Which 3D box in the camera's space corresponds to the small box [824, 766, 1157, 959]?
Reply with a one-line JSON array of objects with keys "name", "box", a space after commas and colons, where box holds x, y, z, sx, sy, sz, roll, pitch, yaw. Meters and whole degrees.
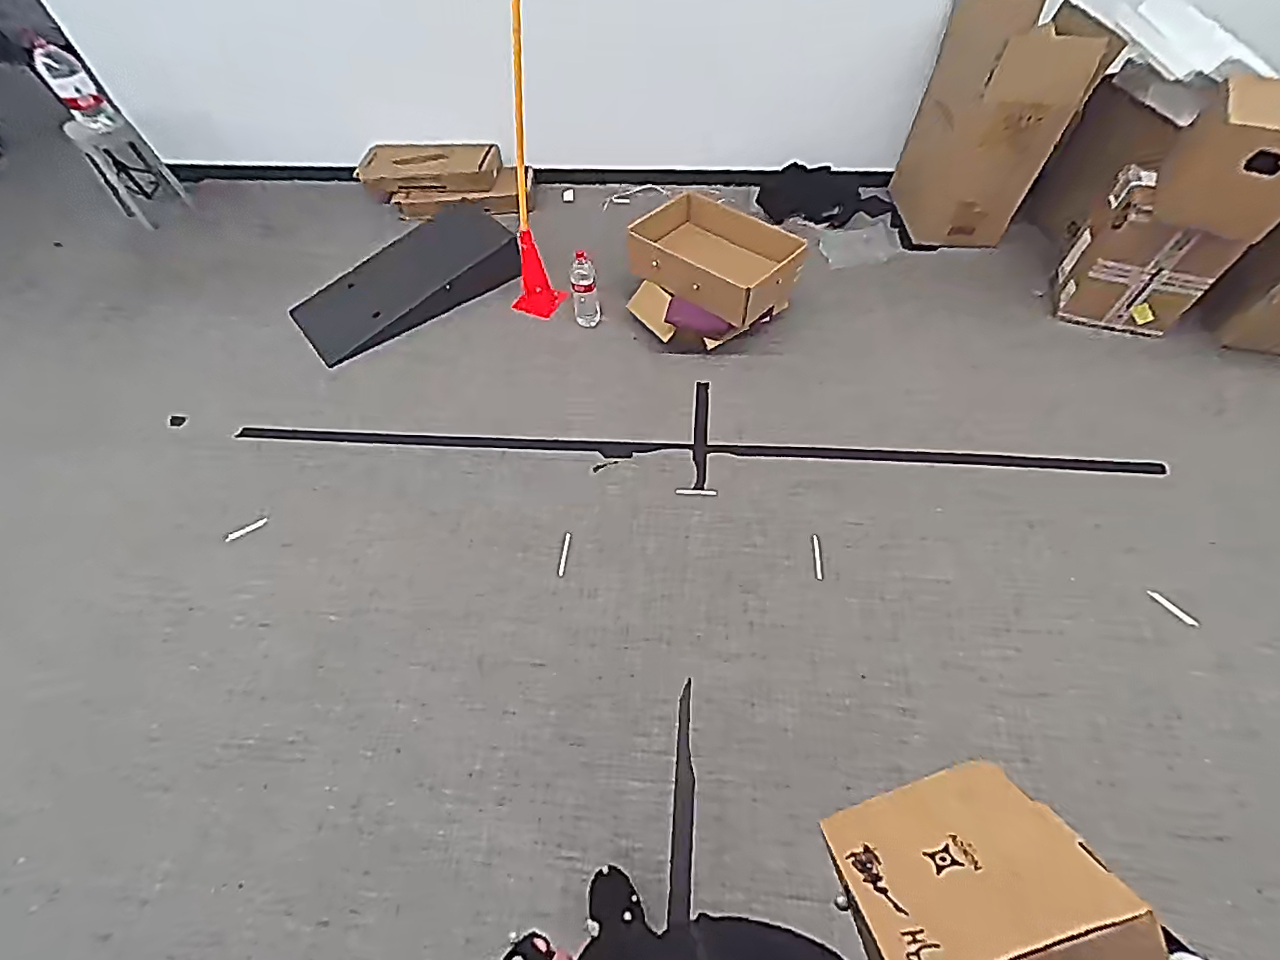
[{"name": "small box", "box": [0.286, 0.390, 0.454, 0.179, 0.168, 0.176, -20, 95, 1]}]
